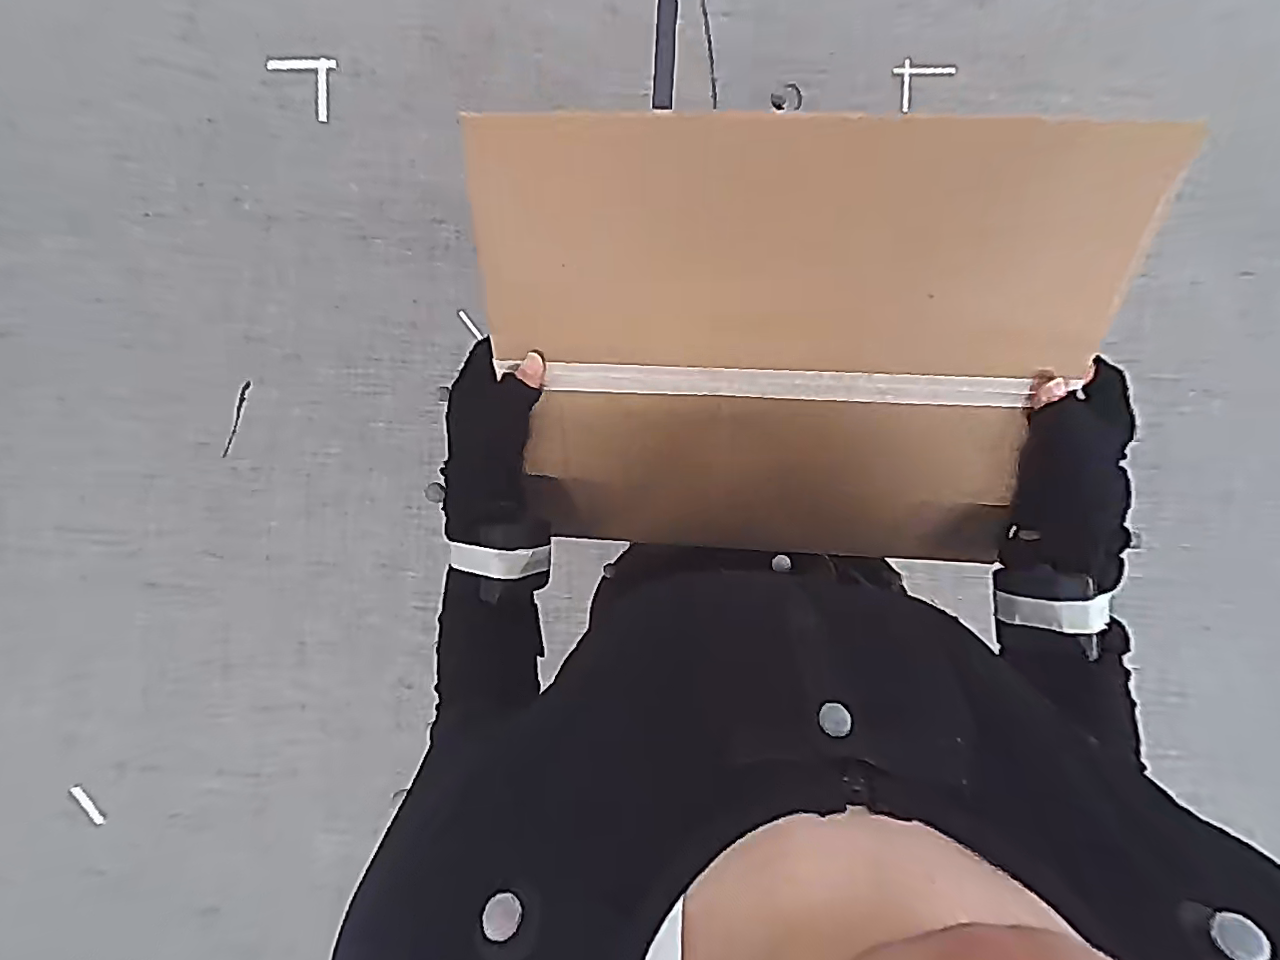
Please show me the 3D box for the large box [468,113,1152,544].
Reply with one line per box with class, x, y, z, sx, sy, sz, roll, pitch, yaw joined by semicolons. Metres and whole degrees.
large box;0.106;-0.160;0.521;0.408;0.320;0.320;3;124;4
